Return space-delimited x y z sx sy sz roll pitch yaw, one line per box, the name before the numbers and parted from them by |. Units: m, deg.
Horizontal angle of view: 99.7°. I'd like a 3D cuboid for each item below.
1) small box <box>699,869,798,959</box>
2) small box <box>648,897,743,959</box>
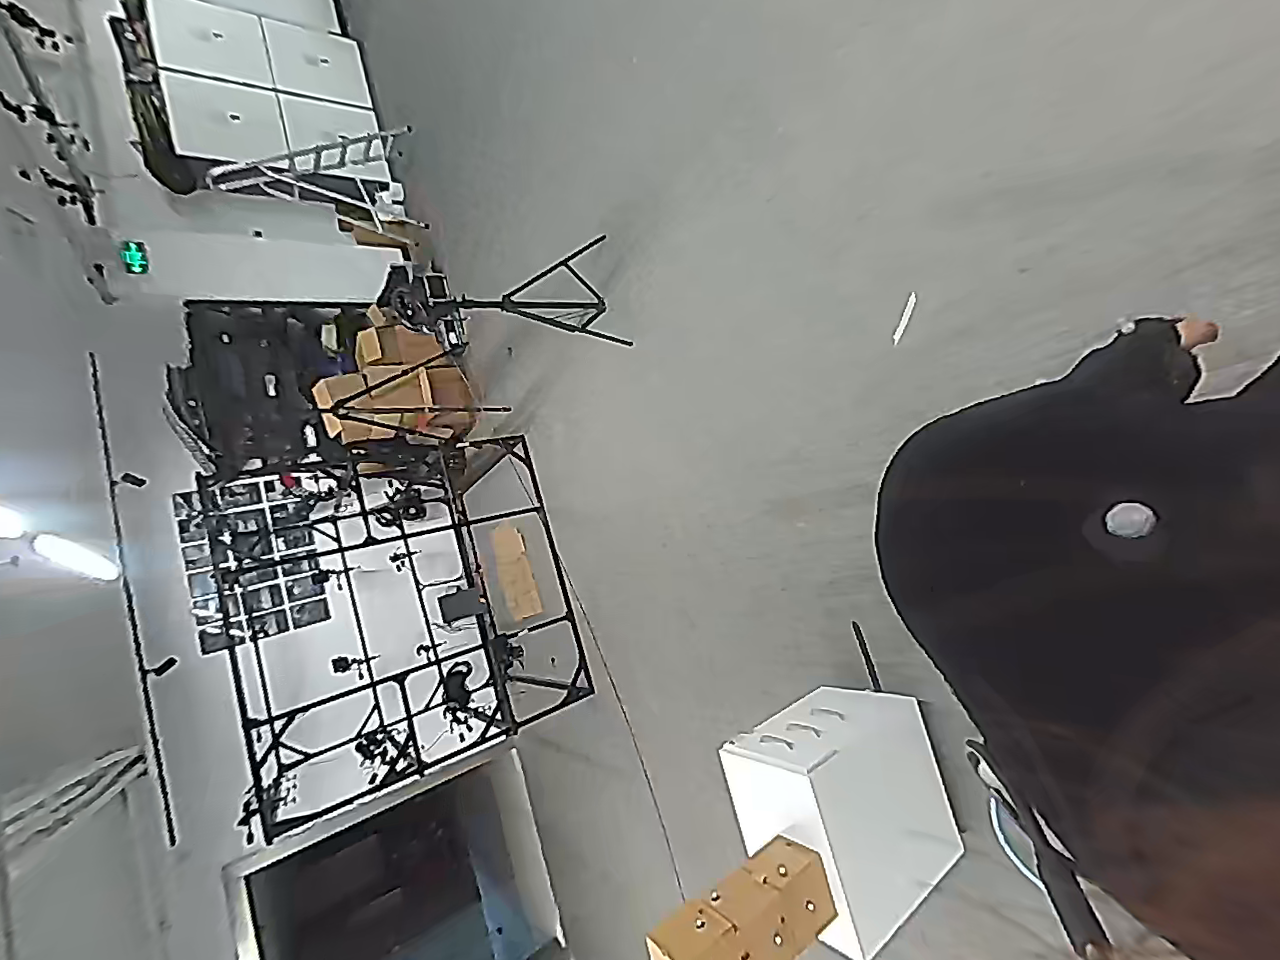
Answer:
small box | 0.285 1.183 1.435 0.179 0.176 0.168 -20 84 57
small box | 0.150 1.205 1.346 0.168 0.176 0.179 -22 81 57
